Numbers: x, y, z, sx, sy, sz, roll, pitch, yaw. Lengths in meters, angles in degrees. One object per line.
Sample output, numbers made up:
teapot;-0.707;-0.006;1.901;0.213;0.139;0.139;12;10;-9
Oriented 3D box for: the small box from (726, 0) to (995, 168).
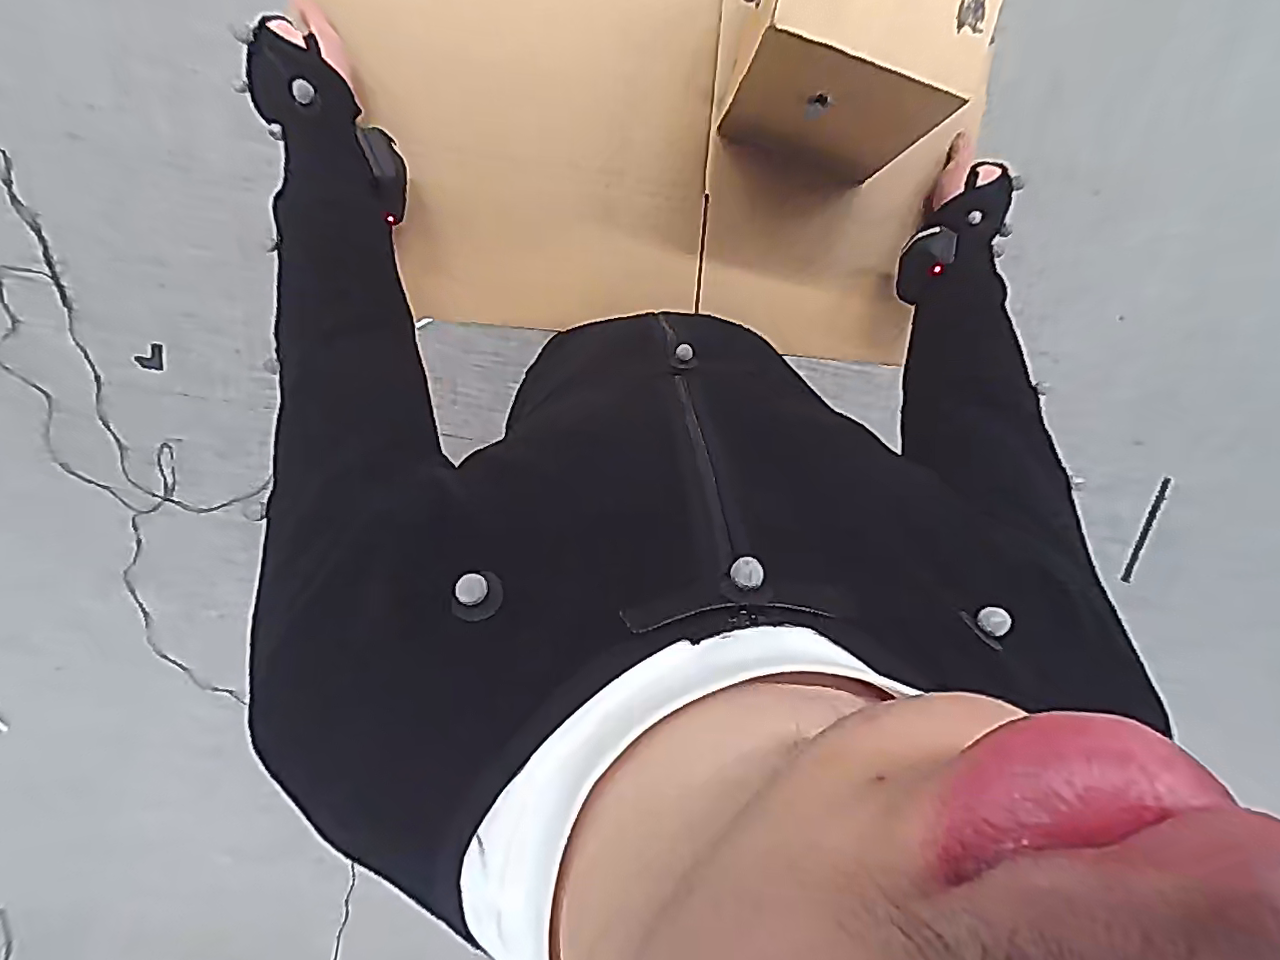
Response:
small box;0.192;-0.419;0.494;0.179;0.176;0.168;14;98;-7
